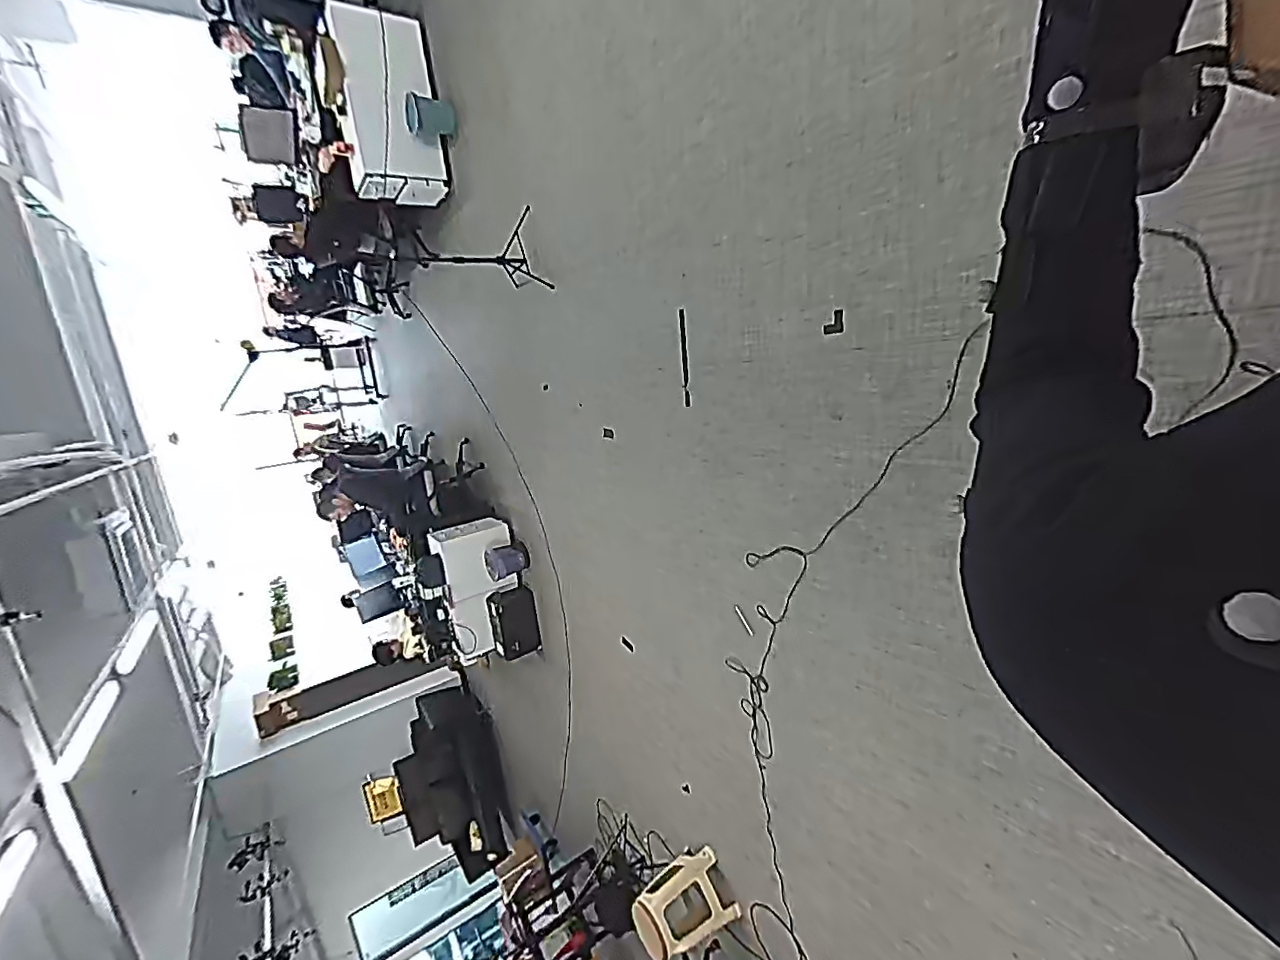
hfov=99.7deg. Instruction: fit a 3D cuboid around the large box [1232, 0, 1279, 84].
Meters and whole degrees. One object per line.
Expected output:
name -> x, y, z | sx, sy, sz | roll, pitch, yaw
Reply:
large box -> 0.520, -0.405, 0.182 | 0.408, 0.320, 0.320 | 5, 113, 56
